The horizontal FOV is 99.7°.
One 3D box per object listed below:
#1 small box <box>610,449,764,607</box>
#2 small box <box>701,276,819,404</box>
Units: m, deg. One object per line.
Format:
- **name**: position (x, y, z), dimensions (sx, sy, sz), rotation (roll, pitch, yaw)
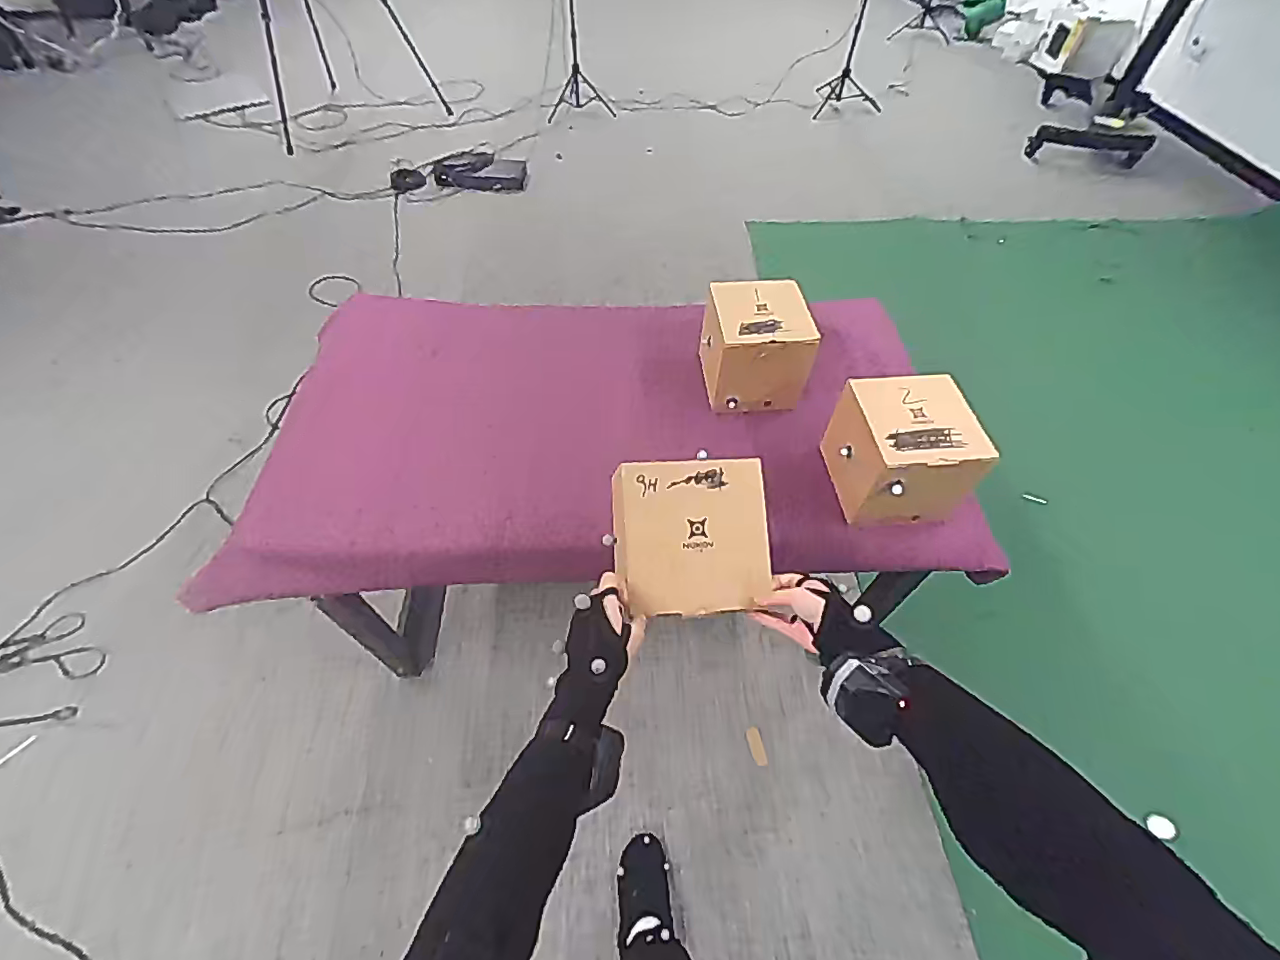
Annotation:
- **small box**: position (0.050, 0.056, 0.688), dimensions (0.168, 0.176, 0.179), rotation (-1, 86, -7)
- **small box**: position (0.212, -0.254, 1.006), dimensions (0.168, 0.176, 0.179), rotation (-3, 54, -3)
